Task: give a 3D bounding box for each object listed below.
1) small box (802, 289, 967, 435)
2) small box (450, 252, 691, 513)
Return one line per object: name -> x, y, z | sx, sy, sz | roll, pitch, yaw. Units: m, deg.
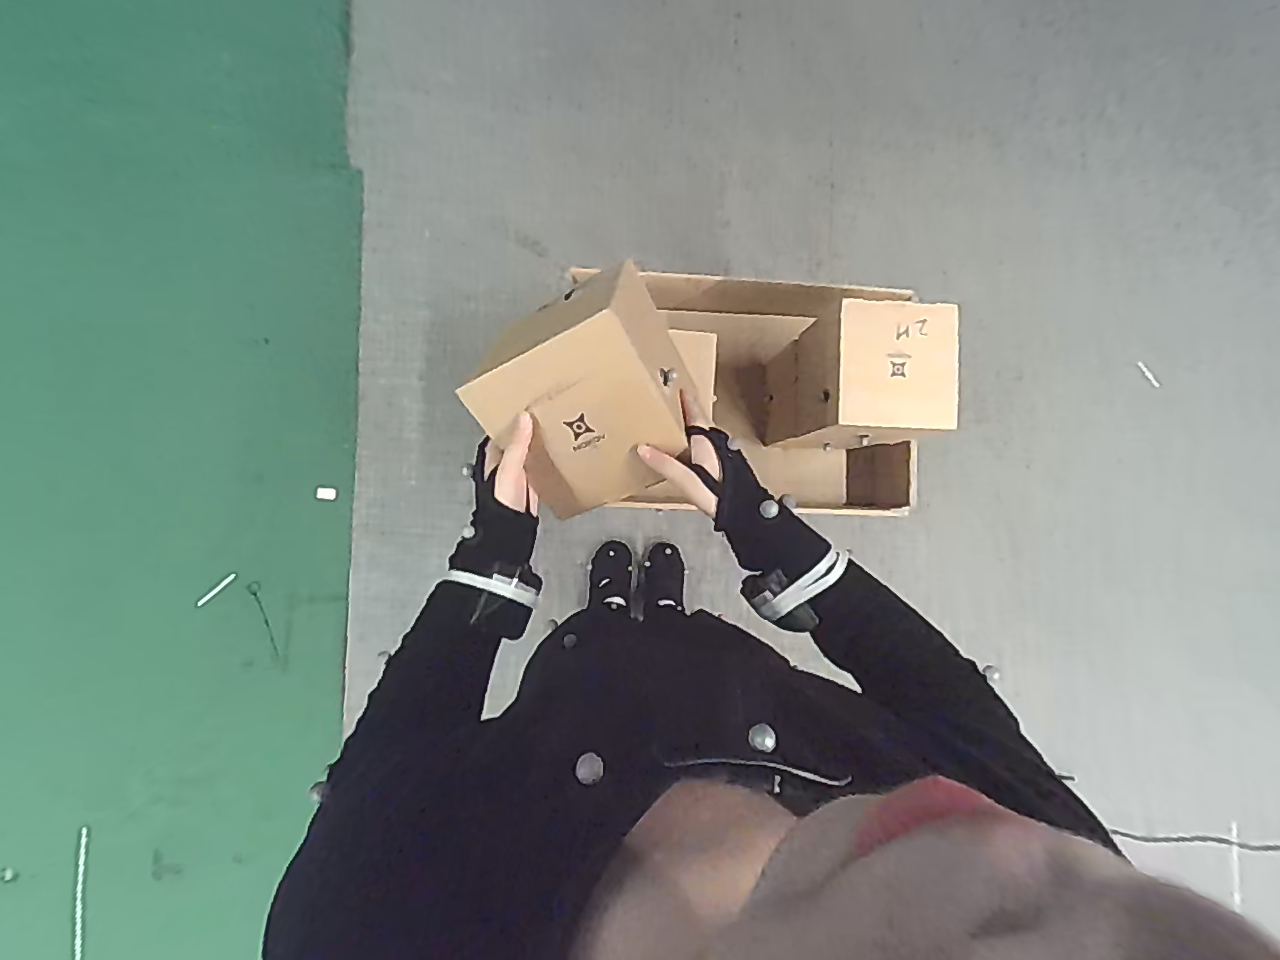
small box -> 0.348, -0.162, 0.798 | 0.168, 0.176, 0.179 | 3, 88, -2
small box -> -0.053, -0.102, 0.558 | 0.168, 0.176, 0.179 | -21, 122, 19
